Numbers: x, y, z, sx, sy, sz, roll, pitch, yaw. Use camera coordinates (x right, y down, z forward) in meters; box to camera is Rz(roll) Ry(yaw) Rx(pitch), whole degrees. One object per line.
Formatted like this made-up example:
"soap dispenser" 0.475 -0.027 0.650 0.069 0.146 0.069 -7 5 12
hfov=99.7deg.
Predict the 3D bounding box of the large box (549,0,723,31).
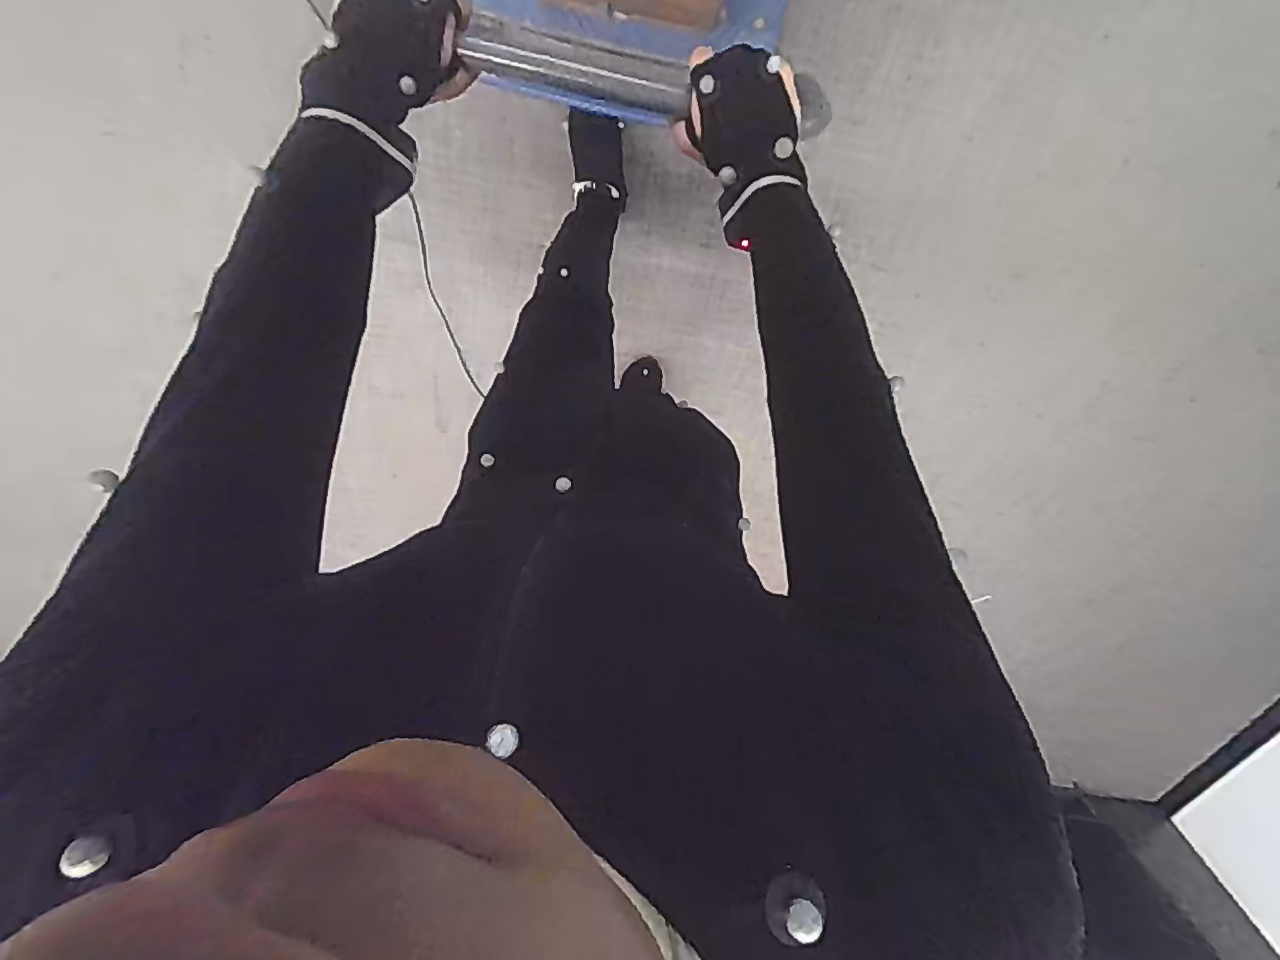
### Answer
"large box" 0.006 -0.941 0.766 0.320 0.320 0.408 8 120 -4
